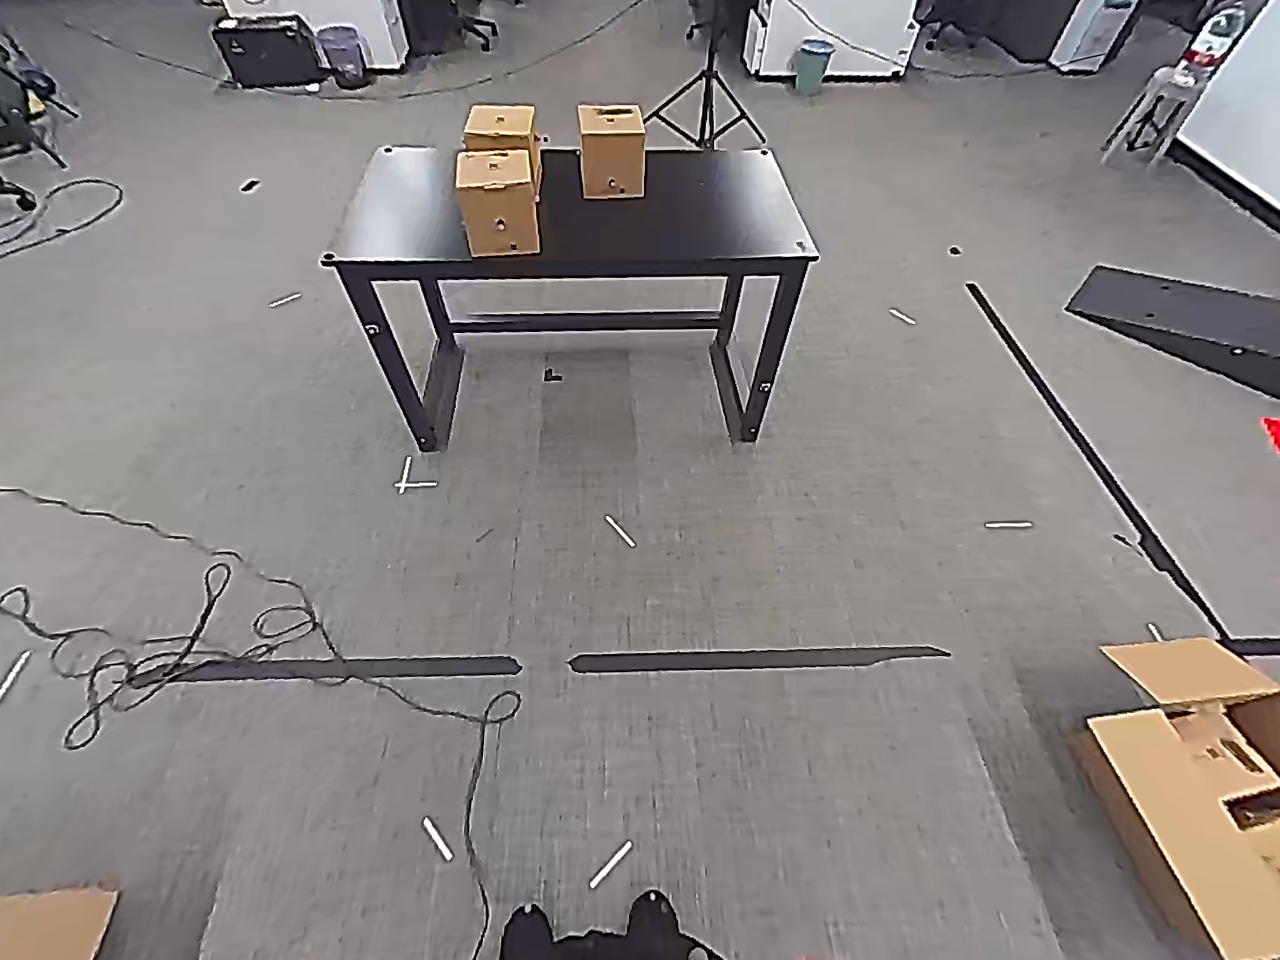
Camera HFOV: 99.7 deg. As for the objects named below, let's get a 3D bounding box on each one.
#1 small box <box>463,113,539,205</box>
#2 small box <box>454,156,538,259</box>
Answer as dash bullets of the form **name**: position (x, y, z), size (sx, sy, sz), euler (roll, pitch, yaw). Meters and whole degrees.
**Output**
- **small box**: position (-0.370, -0.869, 1.472), size (0.168, 0.176, 0.179), euler (-1, 54, -3)
- **small box**: position (-0.343, -0.654, 1.310), size (0.168, 0.176, 0.179), euler (-7, 54, -7)
